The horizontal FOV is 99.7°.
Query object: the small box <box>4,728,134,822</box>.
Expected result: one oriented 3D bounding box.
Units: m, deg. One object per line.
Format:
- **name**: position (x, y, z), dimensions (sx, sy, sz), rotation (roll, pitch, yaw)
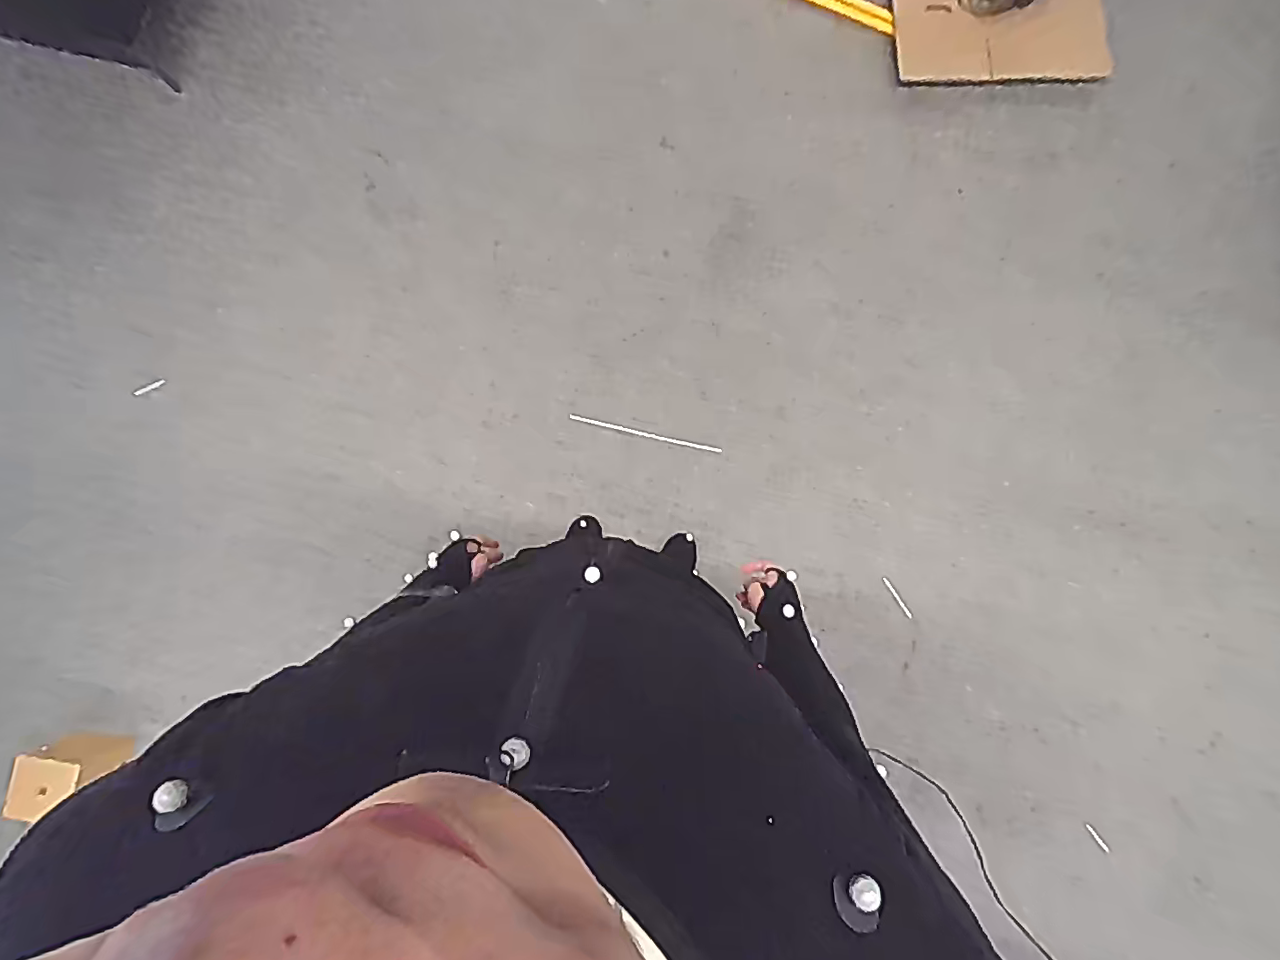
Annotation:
- **small box**: position (-1.592, 0.819, 1.519), dimensions (0.179, 0.176, 0.168), rotation (9, 86, 2)
